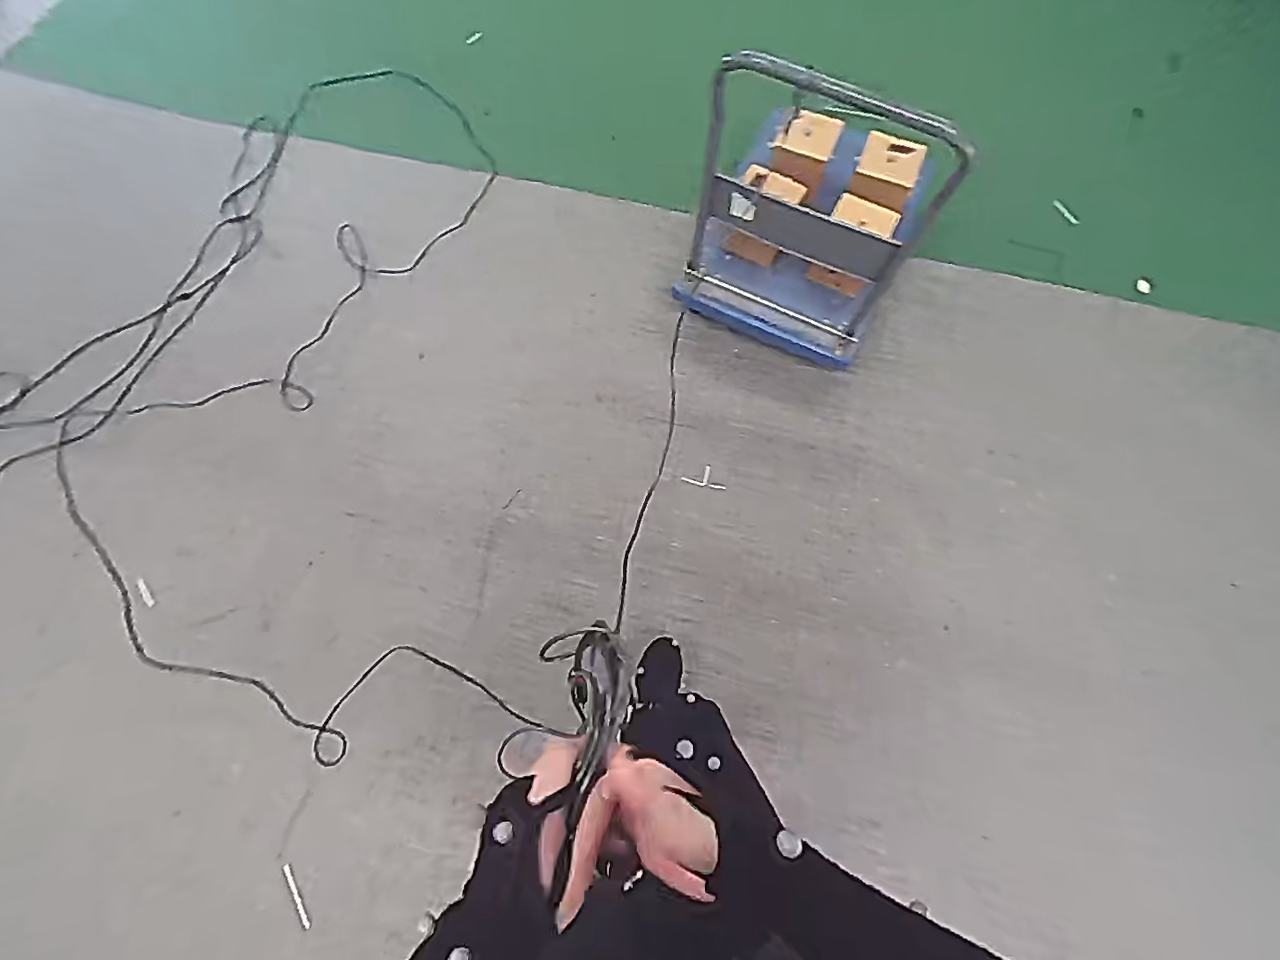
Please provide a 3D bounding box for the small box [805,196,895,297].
[{"bbox_3d":[0.599,-0.671,1.565,0.168,0.176,0.179,26,73,8],"label":"small box"}]

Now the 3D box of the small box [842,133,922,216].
[{"bbox_3d":[0.720,-0.900,1.644,0.168,0.176,0.179,22,73,8],"label":"small box"}]

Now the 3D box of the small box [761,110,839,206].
[{"bbox_3d":[0.488,-0.991,1.675,0.168,0.176,0.179,22,72,6],"label":"small box"}]
